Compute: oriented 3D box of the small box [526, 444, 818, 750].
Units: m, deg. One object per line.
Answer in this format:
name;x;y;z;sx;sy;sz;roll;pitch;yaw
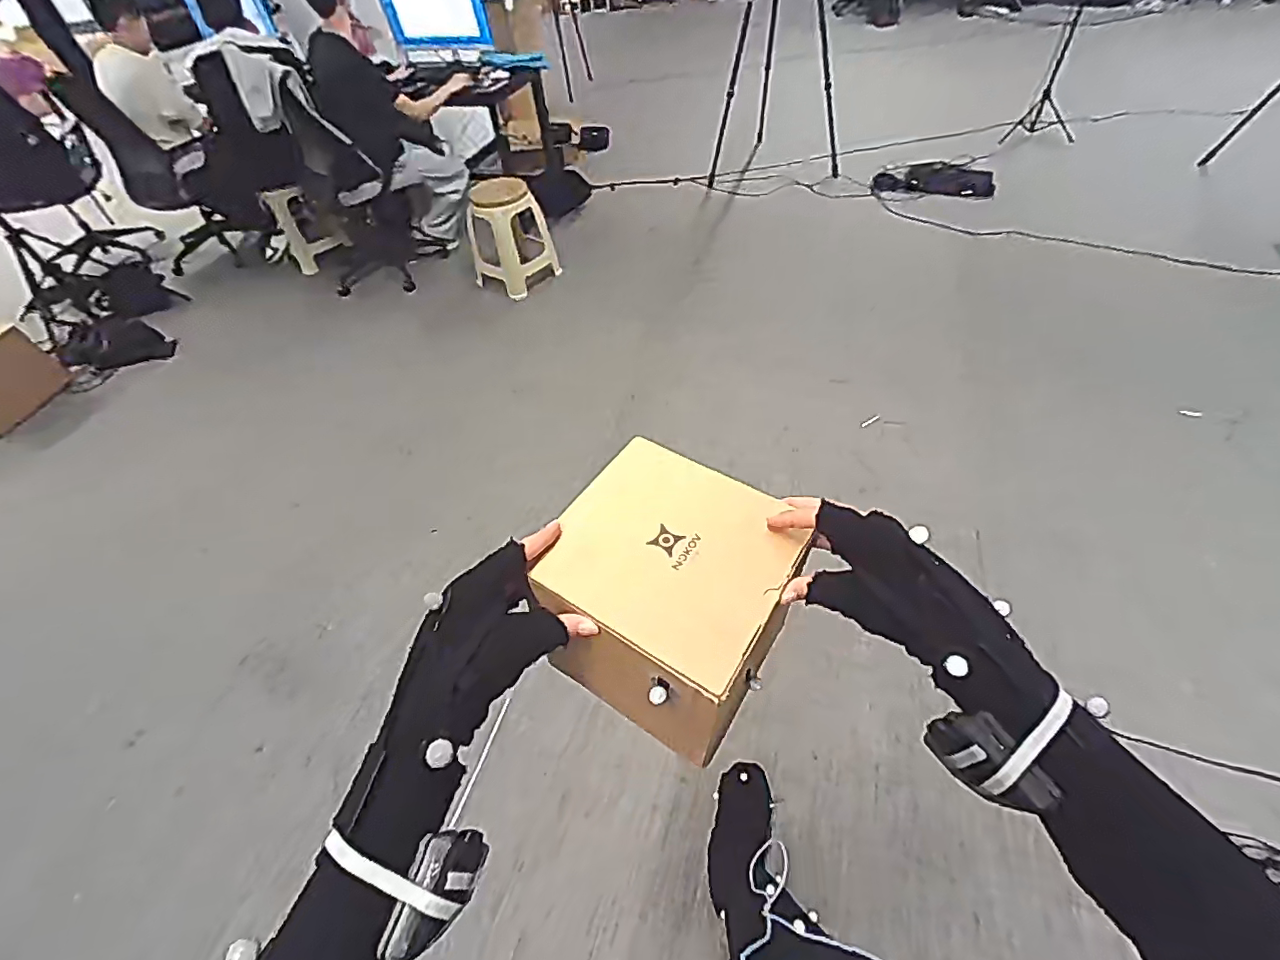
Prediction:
small box;0.027;0.105;0.480;0.179;0.176;0.168;27;54;22
